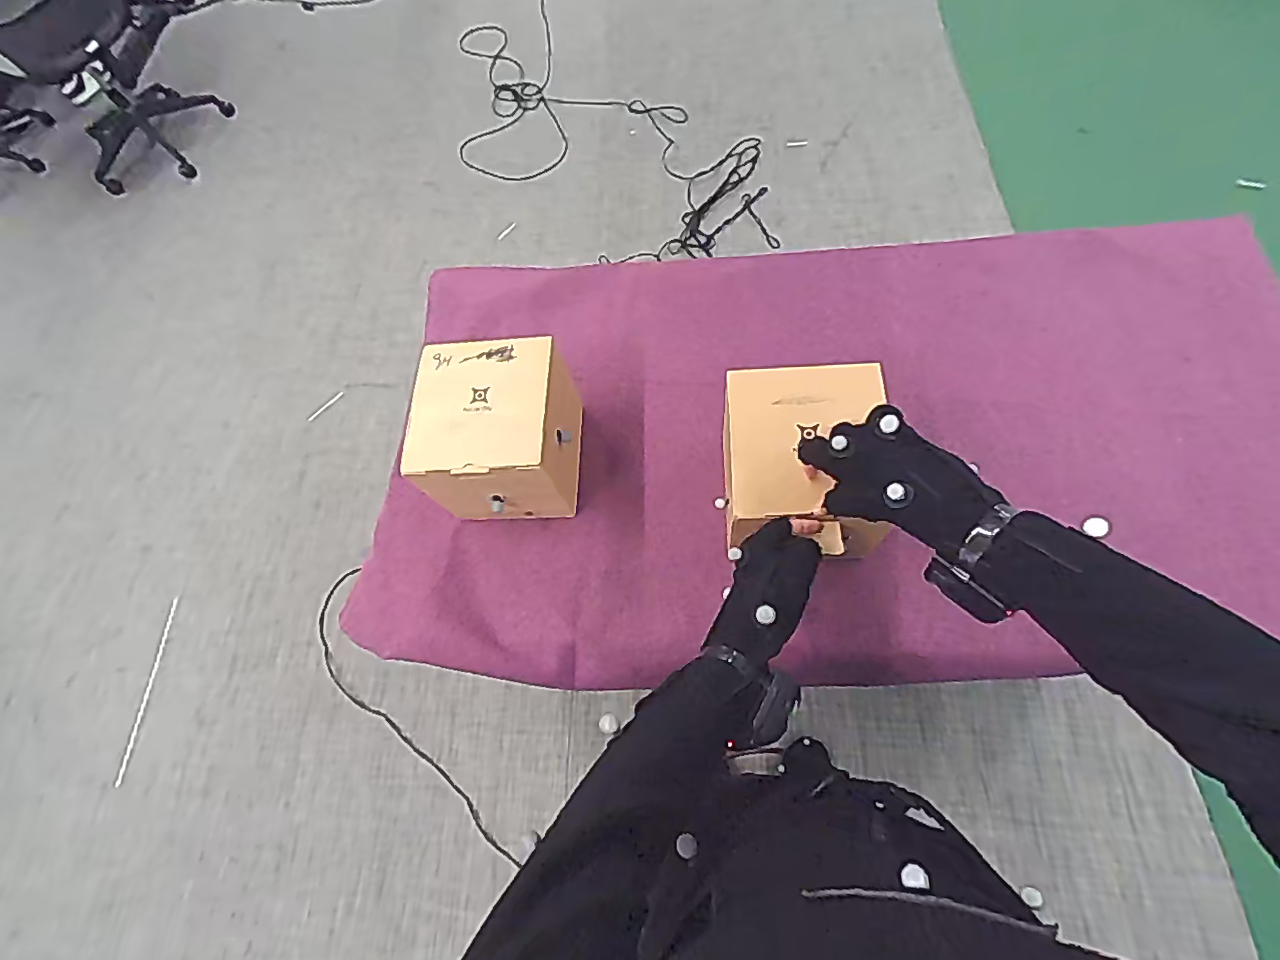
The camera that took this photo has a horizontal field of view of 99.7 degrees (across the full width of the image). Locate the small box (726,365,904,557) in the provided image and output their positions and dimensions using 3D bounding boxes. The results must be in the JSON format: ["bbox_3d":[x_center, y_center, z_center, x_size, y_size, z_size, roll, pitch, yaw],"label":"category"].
[{"bbox_3d":[0.186,-0.011,0.631,0.168,0.176,0.179,-2,67,7],"label":"small box"}]

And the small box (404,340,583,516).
[{"bbox_3d":[-0.174,-0.055,0.700,0.168,0.176,0.179,-2,67,7],"label":"small box"}]
